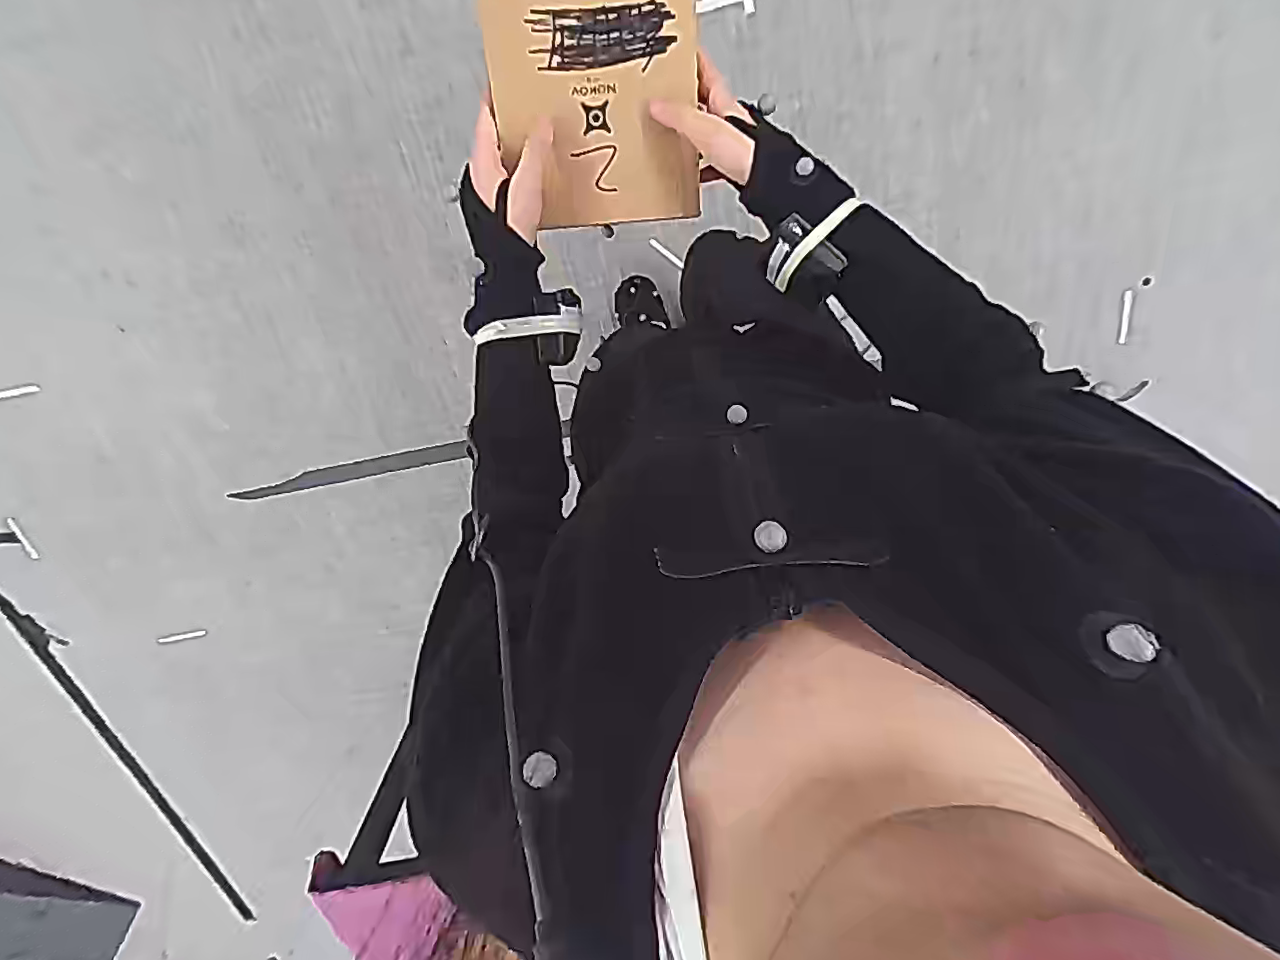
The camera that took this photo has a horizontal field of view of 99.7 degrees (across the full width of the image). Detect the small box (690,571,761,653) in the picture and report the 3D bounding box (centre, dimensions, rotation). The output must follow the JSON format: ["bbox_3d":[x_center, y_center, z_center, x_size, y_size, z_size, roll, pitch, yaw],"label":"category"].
[{"bbox_3d":[0.254,0.392,1.629,0.179,0.176,0.168,-9,111,3],"label":"small box"}]

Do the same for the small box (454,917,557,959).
[{"bbox_3d":[-0.274,1.014,1.071,0.179,0.176,0.168,-10,112,2],"label":"small box"}]
